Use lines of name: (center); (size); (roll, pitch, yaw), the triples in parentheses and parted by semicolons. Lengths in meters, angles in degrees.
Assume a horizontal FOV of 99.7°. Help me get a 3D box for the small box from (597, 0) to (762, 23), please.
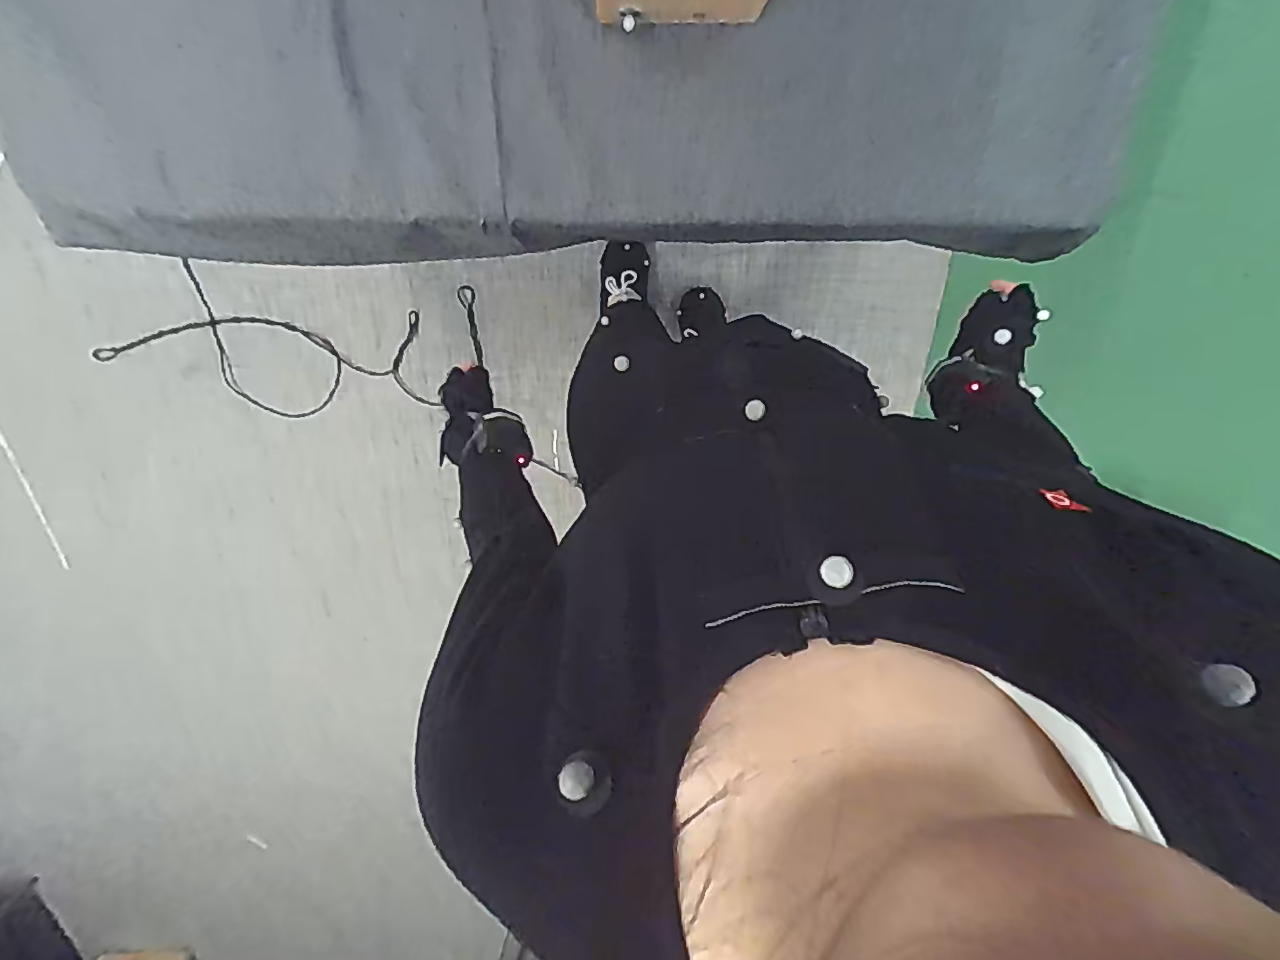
small box: (0.038, -0.515, 0.450); (0.168, 0.176, 0.179); (-1, 112, 0)
